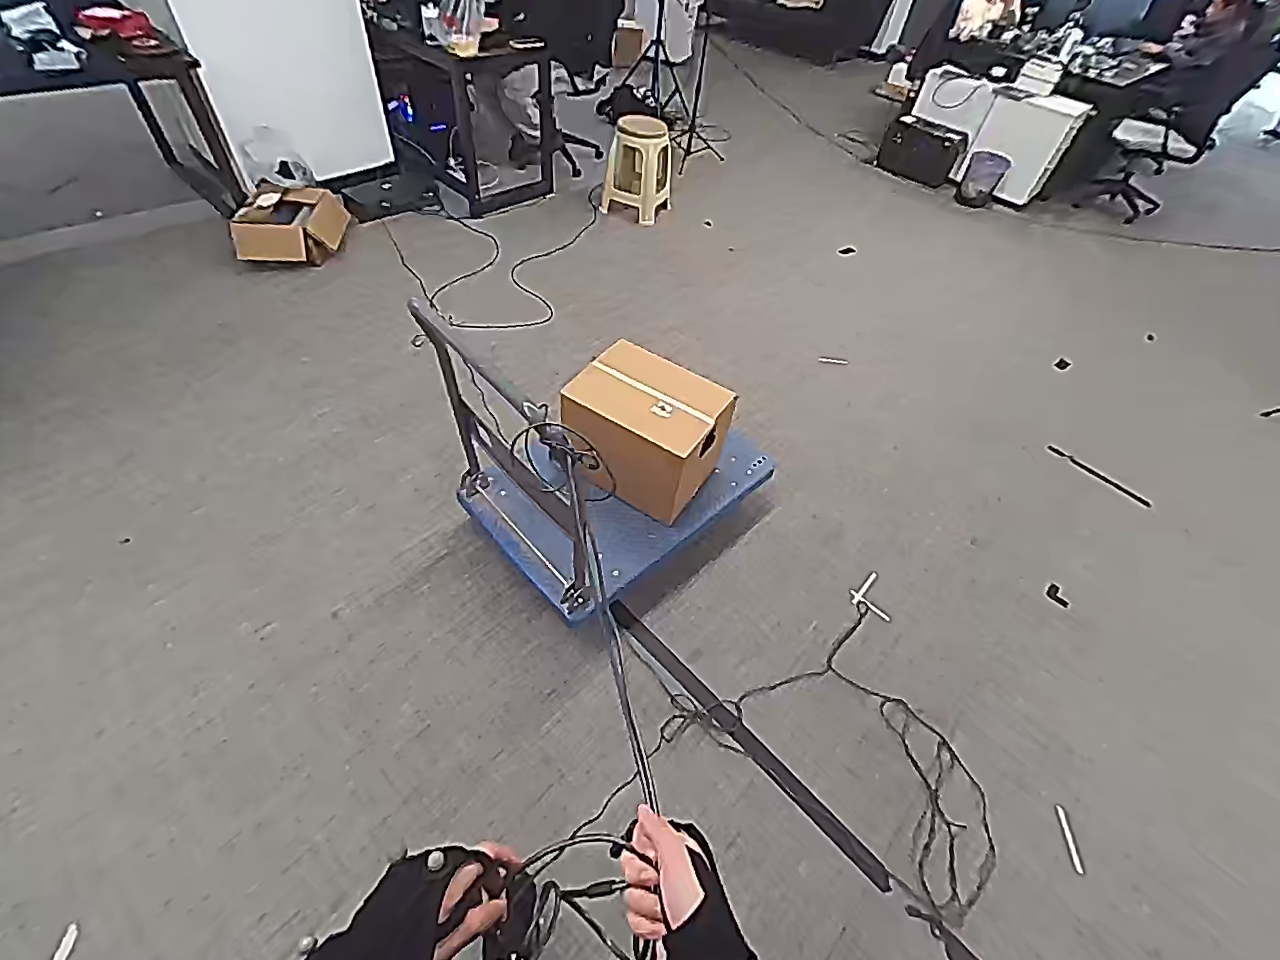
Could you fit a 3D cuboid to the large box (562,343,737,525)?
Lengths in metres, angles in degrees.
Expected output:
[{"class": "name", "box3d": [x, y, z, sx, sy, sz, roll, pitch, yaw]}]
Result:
[{"class": "large box", "box3d": [0.015, -0.139, 1.613, 0.408, 0.320, 0.320, 30, 55, 16]}]
